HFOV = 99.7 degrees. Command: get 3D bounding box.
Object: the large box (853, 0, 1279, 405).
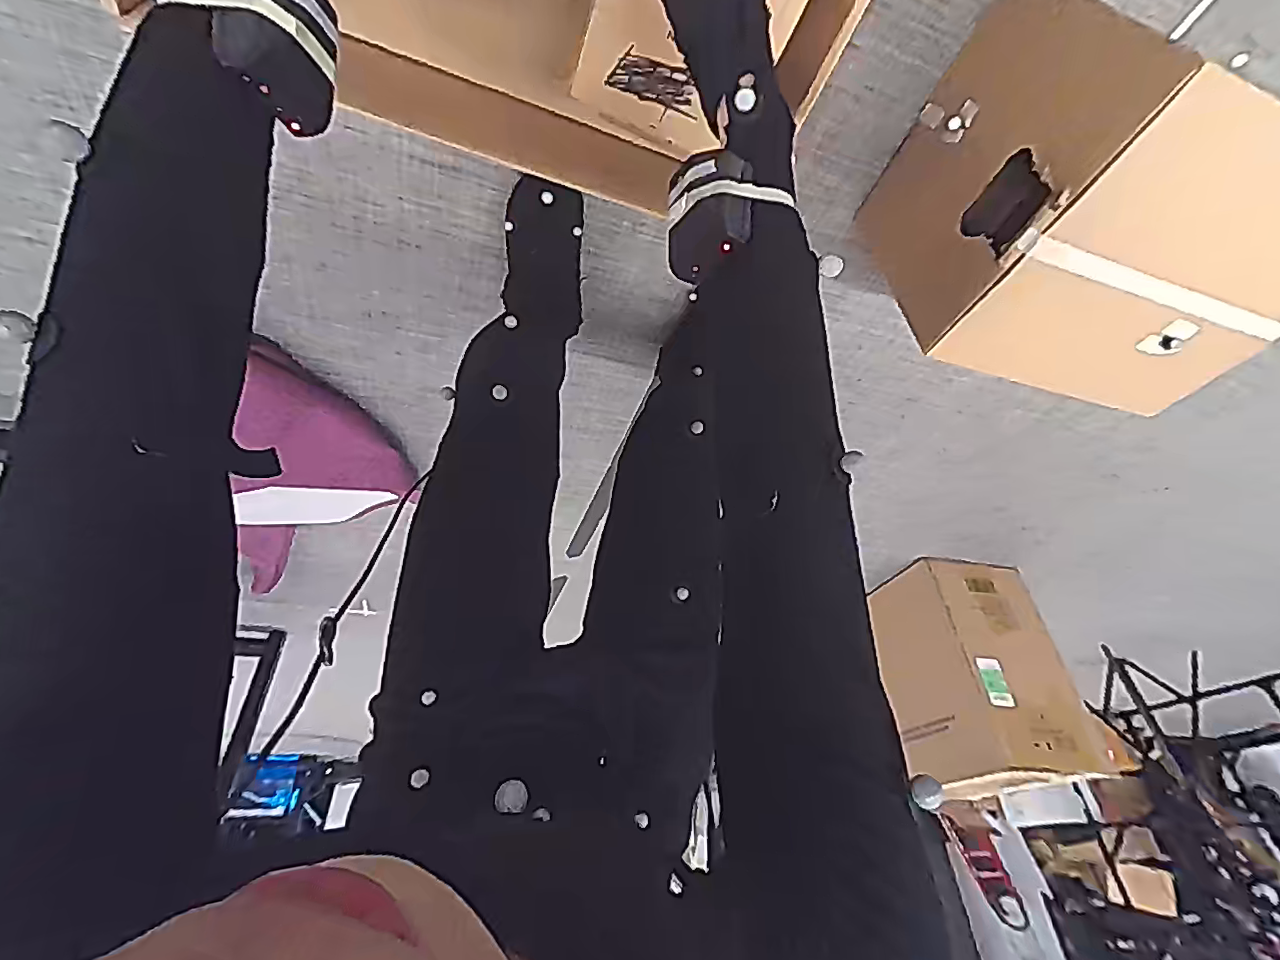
[{"bbox_3d":[0.563,-0.338,0.682,0.408,0.320,0.320,8,142,-17],"label":"large box"}]
